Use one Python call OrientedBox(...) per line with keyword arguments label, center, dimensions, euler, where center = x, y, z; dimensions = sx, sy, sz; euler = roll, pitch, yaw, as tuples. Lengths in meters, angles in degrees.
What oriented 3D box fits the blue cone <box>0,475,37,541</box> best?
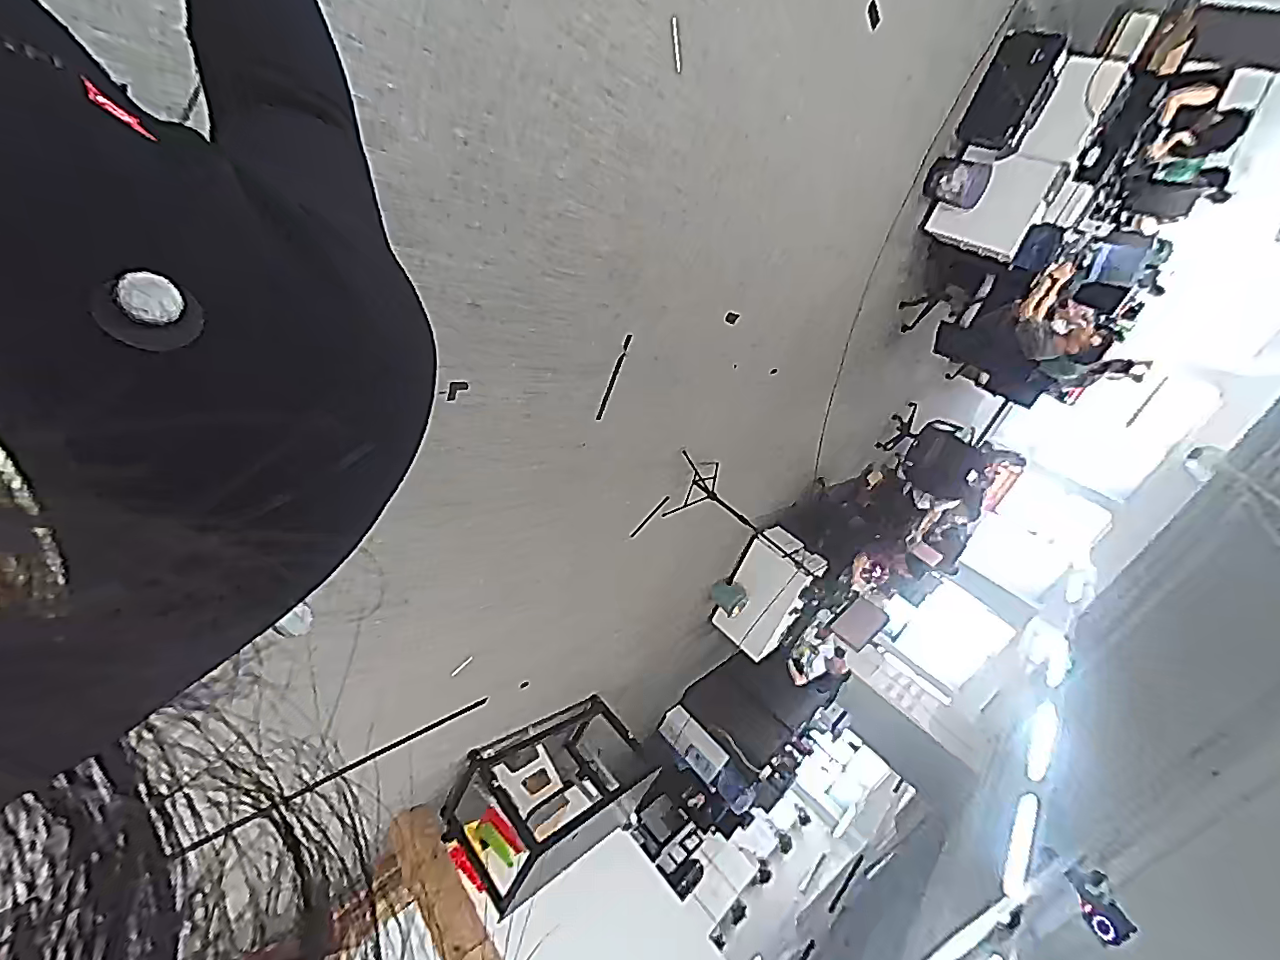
OrientedBox(label="blue cone", center=(-1.252, 0.148, 0.990), dimensions=(0.193, 0.380, 0.192), euler=(-27, 141, -38))
